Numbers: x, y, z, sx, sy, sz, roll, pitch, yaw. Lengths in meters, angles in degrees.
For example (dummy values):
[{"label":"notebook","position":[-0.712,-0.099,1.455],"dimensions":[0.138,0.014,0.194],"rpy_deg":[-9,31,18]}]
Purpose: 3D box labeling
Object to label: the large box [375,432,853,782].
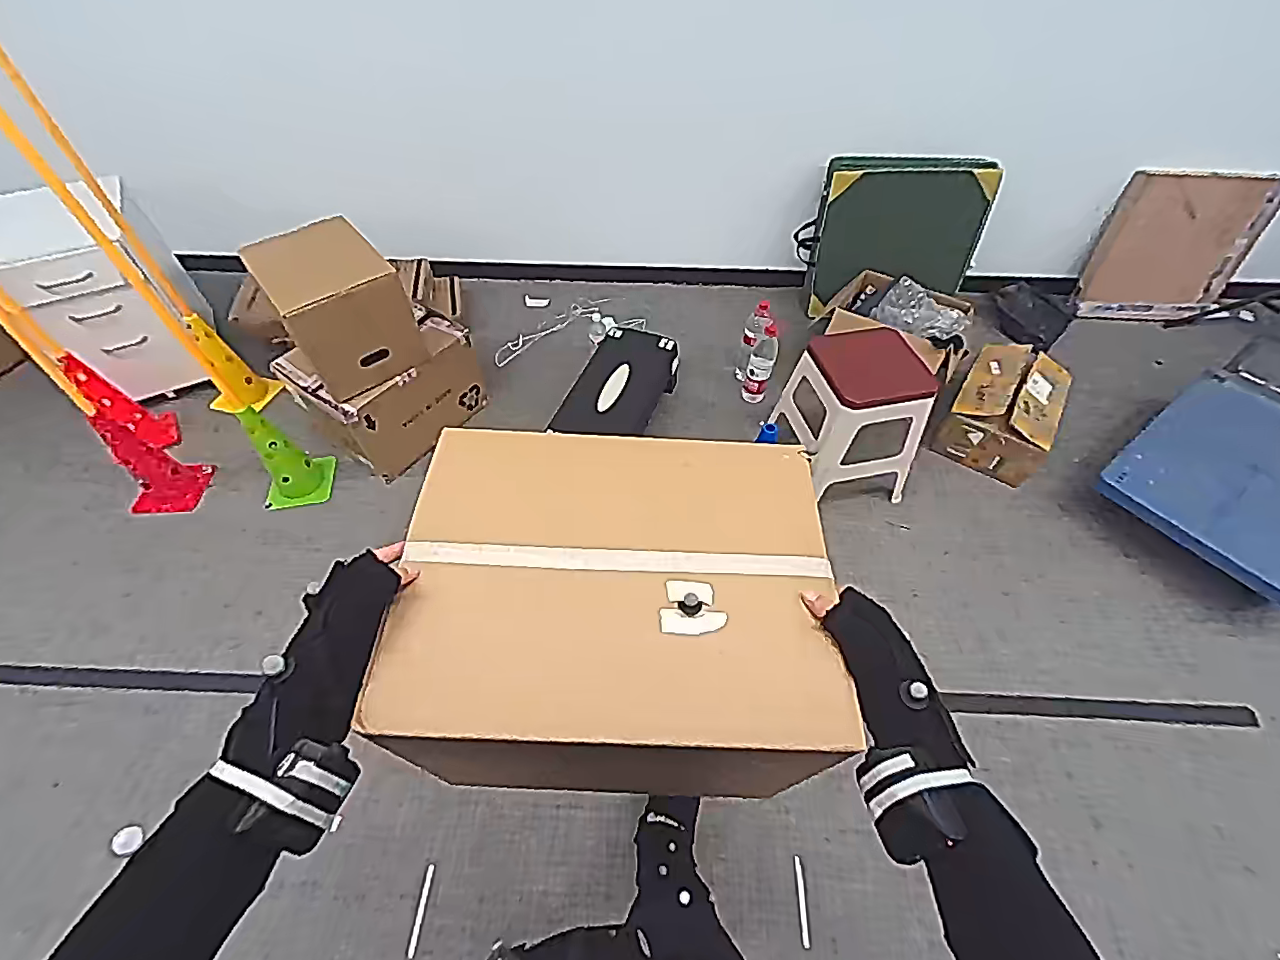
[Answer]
[{"label":"large box","position":[-0.025,0.164,0.649],"dimensions":[0.408,0.320,0.320],"rpy_deg":[3,54,-1]}]
